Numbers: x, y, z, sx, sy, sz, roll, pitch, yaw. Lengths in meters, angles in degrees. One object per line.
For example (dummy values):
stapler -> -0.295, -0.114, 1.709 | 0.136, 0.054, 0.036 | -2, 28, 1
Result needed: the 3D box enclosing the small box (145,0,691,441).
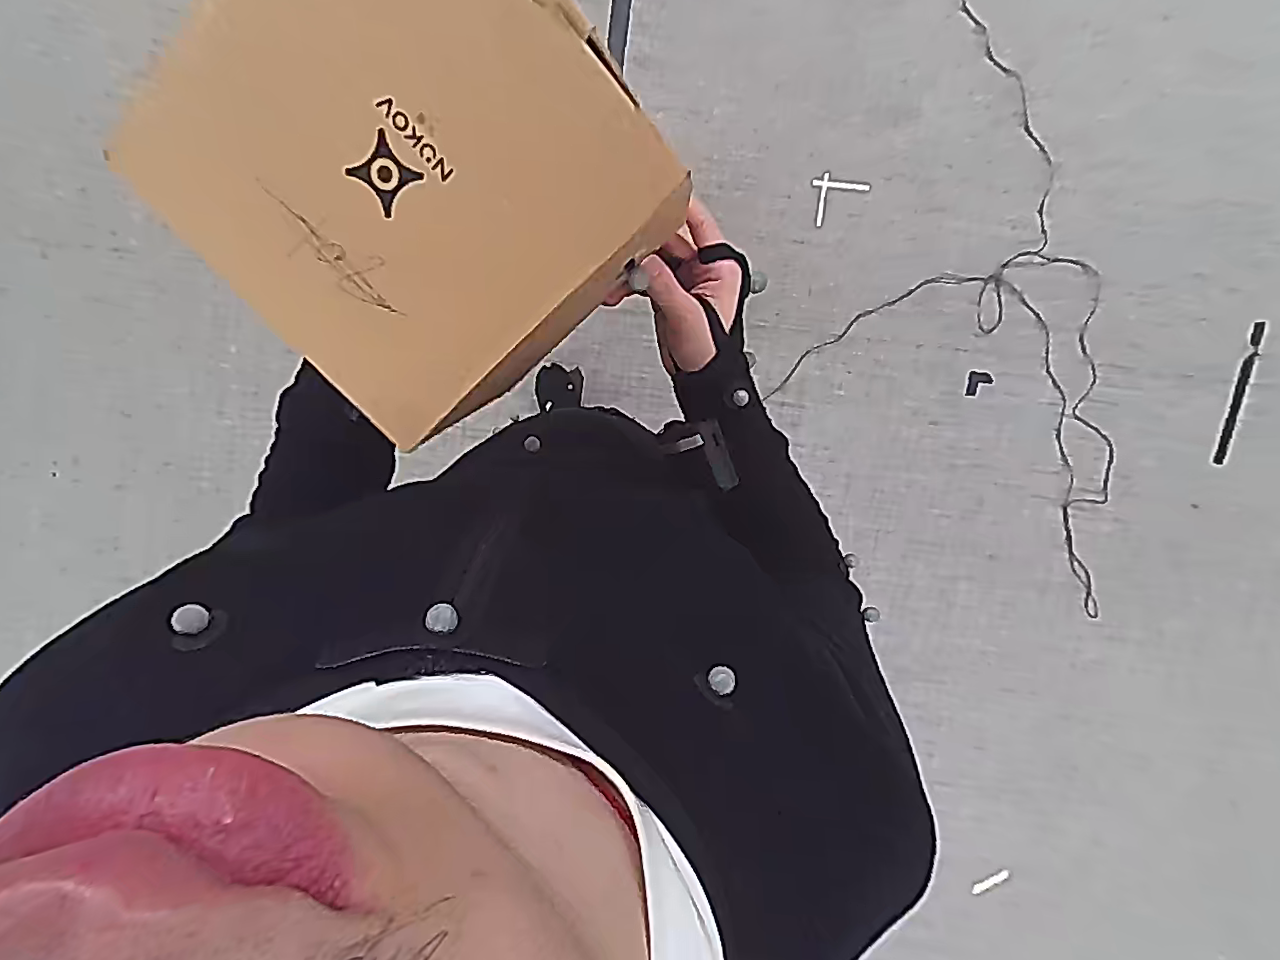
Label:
small box -> -0.091, -0.154, 0.301 | 0.179, 0.176, 0.168 | -40, 101, 15
